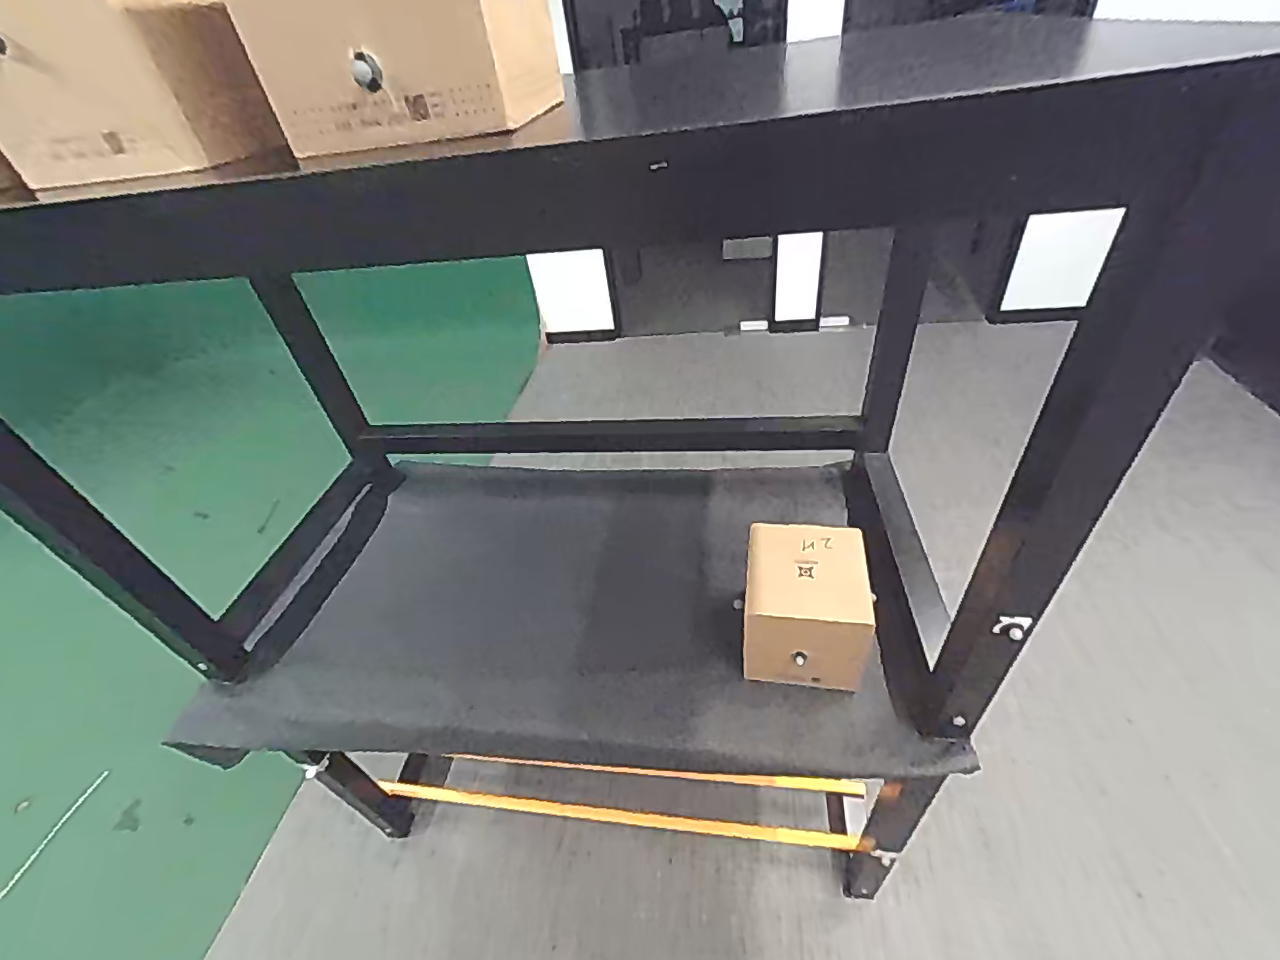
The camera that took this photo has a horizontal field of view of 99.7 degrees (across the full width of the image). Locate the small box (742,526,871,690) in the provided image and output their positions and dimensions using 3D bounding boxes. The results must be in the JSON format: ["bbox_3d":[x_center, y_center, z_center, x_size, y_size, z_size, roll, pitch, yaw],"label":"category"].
[{"bbox_3d":[0.245,0.193,0.818,0.168,0.176,0.179,3,40,13],"label":"small box"}]

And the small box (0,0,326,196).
[{"bbox_3d":[-0.400,-0.339,0.436,0.168,0.176,0.179,1,40,12],"label":"small box"}]
